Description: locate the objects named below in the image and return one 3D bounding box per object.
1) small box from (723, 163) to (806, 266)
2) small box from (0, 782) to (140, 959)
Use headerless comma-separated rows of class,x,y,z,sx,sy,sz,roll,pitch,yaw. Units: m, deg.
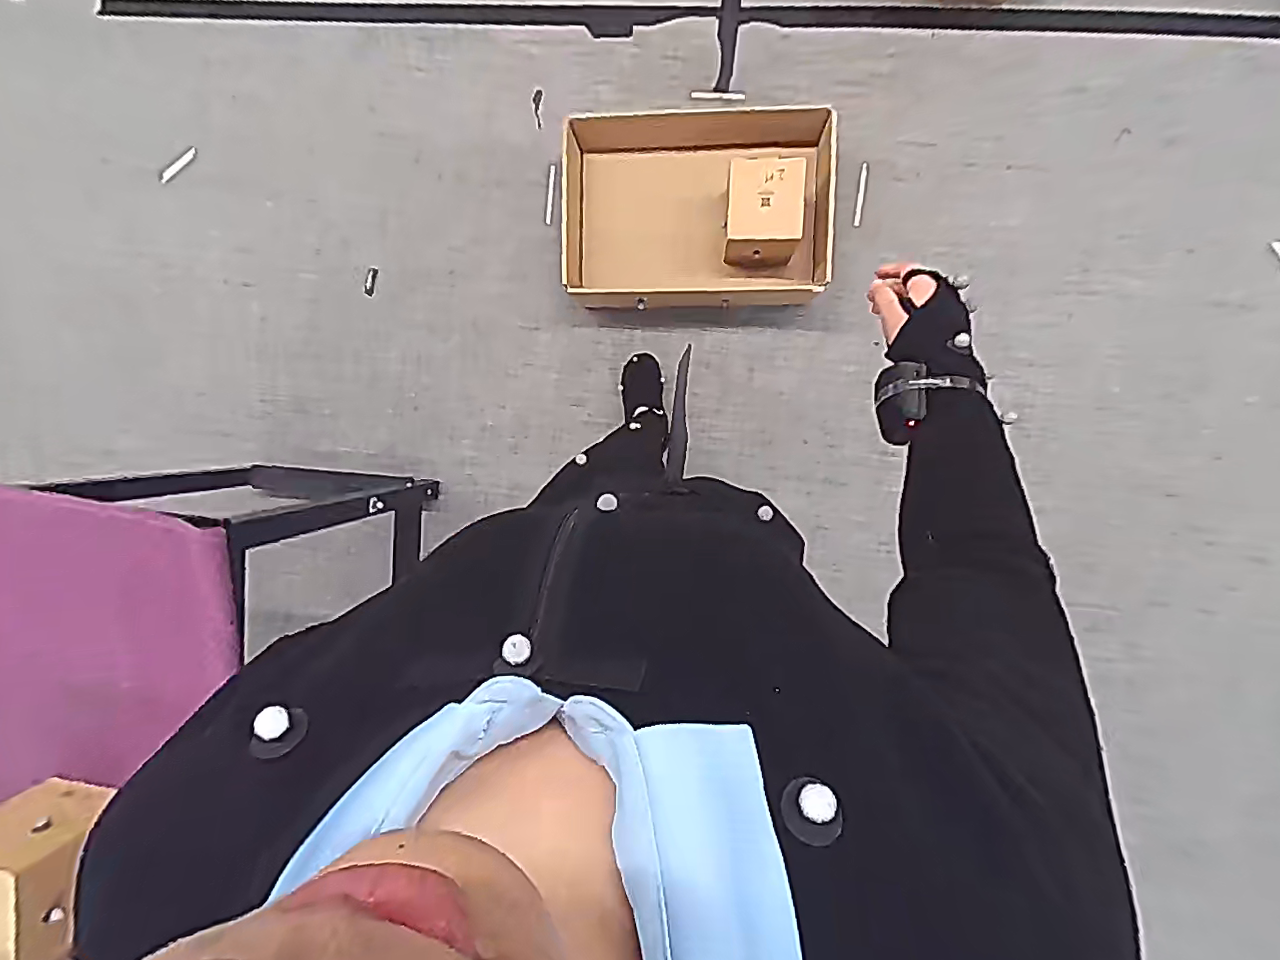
small box,0.285,-0.616,1.272,0.168,0.176,0.179,3,94,5
small box,-0.900,0.588,0.806,0.168,0.176,0.179,7,96,5
